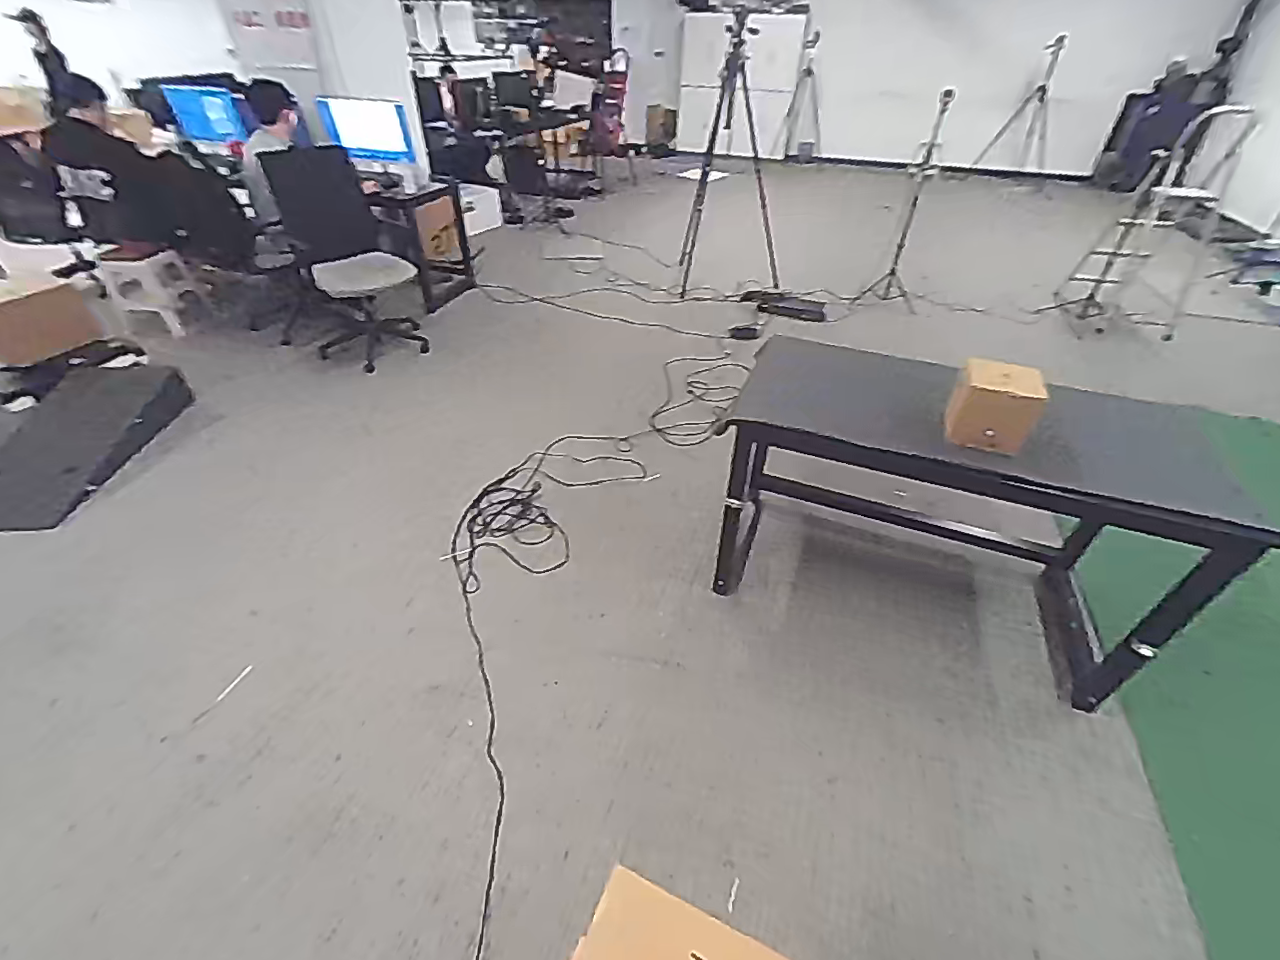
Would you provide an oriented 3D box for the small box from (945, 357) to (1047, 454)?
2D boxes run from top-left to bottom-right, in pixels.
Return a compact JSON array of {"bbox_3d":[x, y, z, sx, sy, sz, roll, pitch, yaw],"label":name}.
[{"bbox_3d":[0.901,-0.193,1.387,0.168,0.176,0.179,15,41,18],"label":"small box"}]
